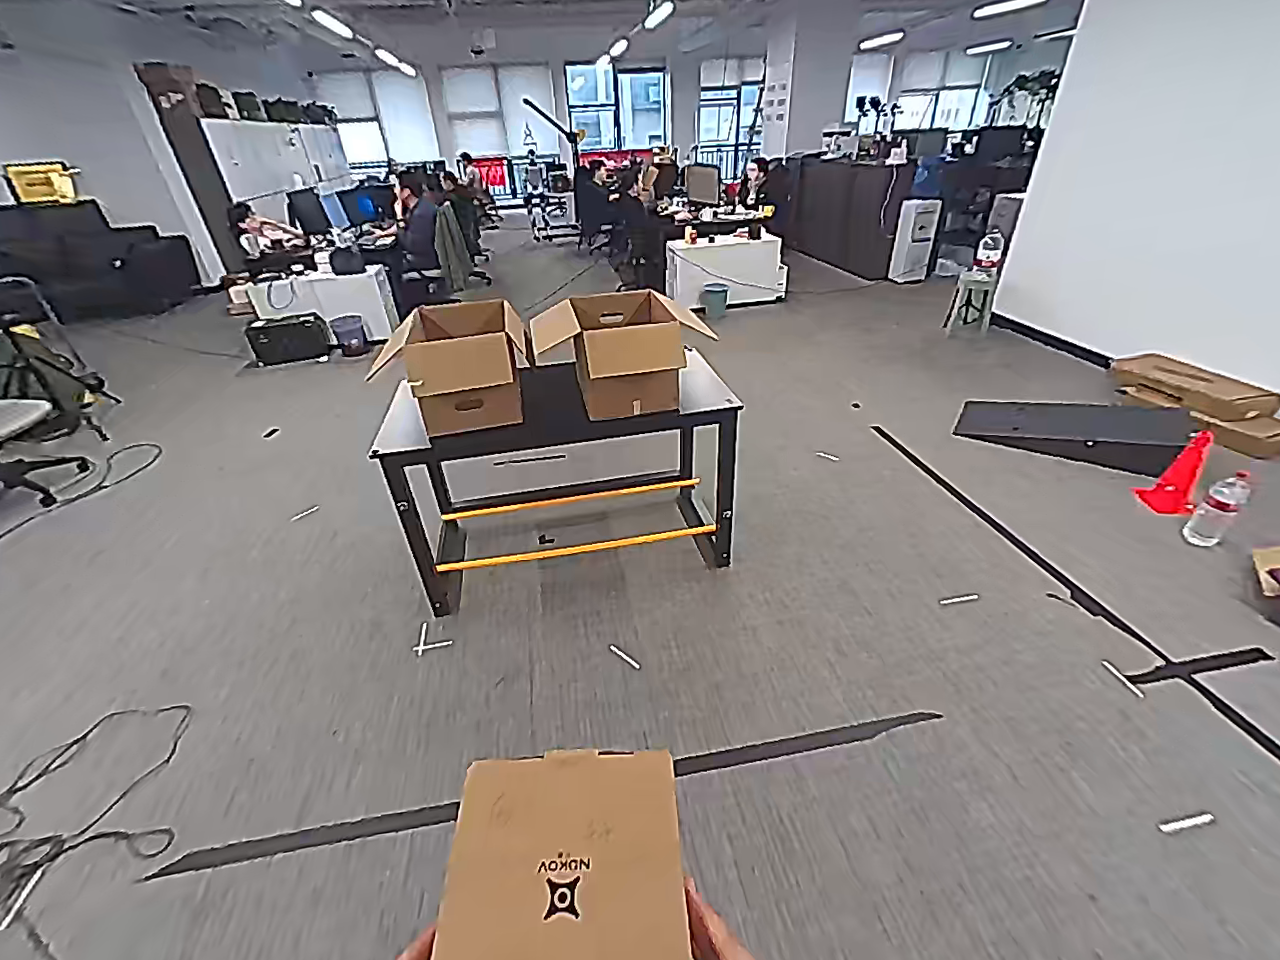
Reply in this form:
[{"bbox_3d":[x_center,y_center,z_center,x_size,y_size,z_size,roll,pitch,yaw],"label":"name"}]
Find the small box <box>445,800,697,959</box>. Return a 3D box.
[{"bbox_3d":[-0.045,0.370,0.404,0.168,0.176,0.179,-3,37,-2],"label":"small box"}]
